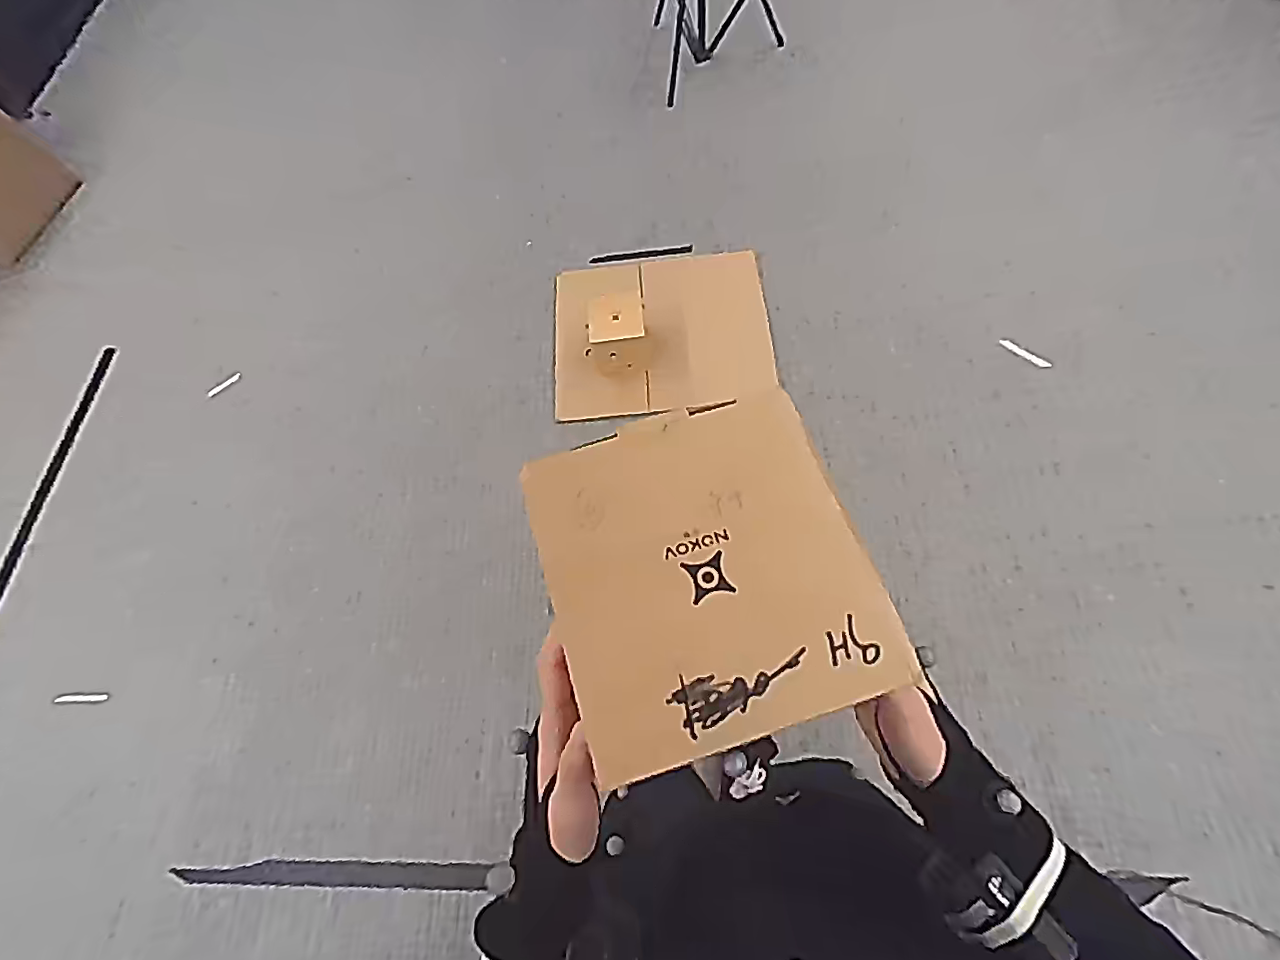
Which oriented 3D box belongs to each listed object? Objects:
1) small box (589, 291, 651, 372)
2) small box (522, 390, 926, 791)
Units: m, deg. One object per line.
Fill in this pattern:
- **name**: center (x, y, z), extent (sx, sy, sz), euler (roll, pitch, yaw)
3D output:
- **small box**: center (-0.059, -0.450, 1.674), extent (0.168, 0.176, 0.179), euler (-7, 66, 3)
- **small box**: center (0.038, 0.075, 0.355), extent (0.168, 0.176, 0.179), euler (-18, 67, -3)
